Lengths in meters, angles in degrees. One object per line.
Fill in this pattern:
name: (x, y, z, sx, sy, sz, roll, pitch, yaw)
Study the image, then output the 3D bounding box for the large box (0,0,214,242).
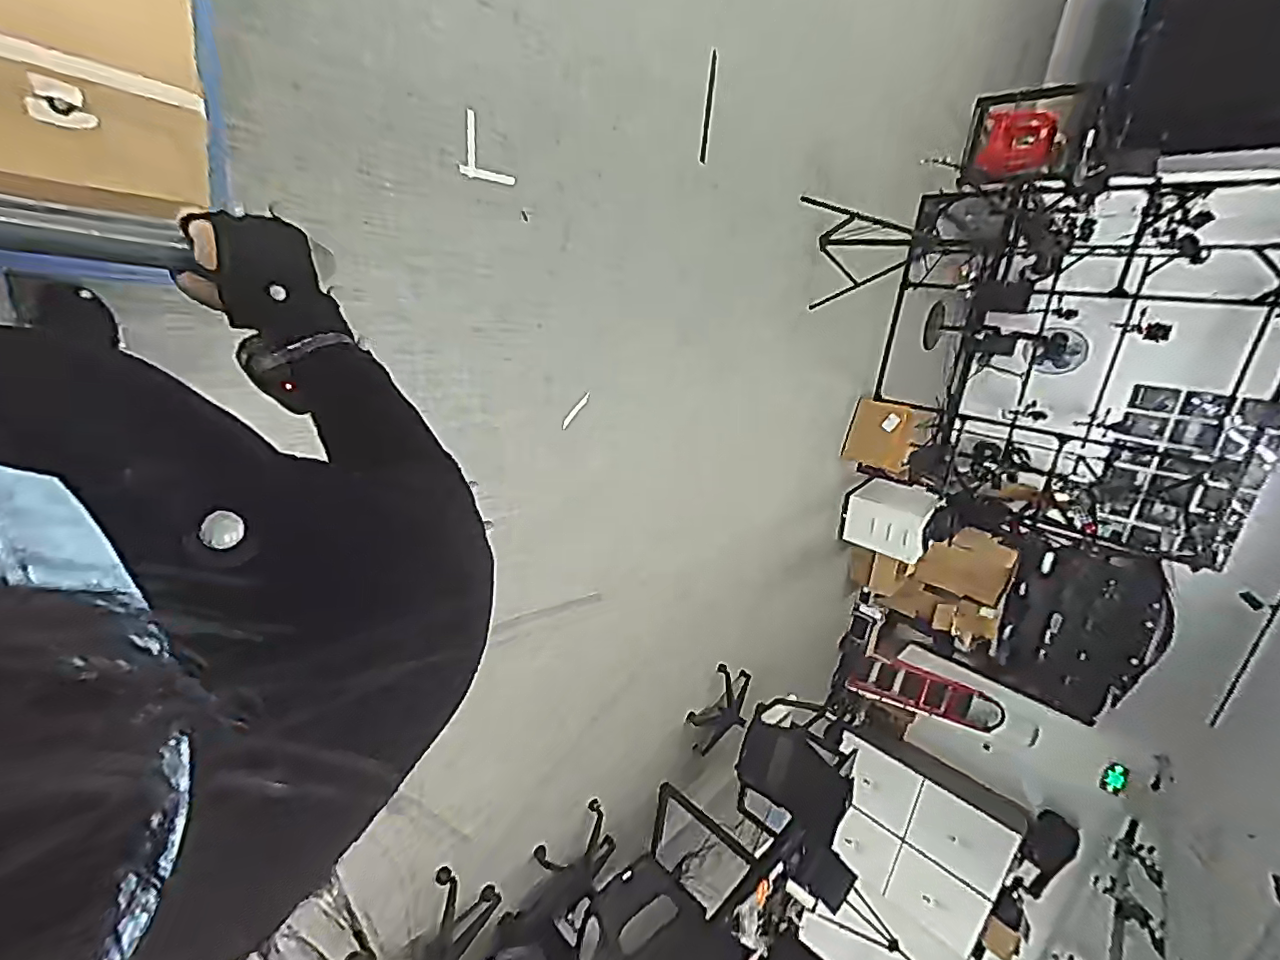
large box: (-0.826, -0.494, 0.664, 0.408, 0.320, 0.320, -11, 114, -48)
